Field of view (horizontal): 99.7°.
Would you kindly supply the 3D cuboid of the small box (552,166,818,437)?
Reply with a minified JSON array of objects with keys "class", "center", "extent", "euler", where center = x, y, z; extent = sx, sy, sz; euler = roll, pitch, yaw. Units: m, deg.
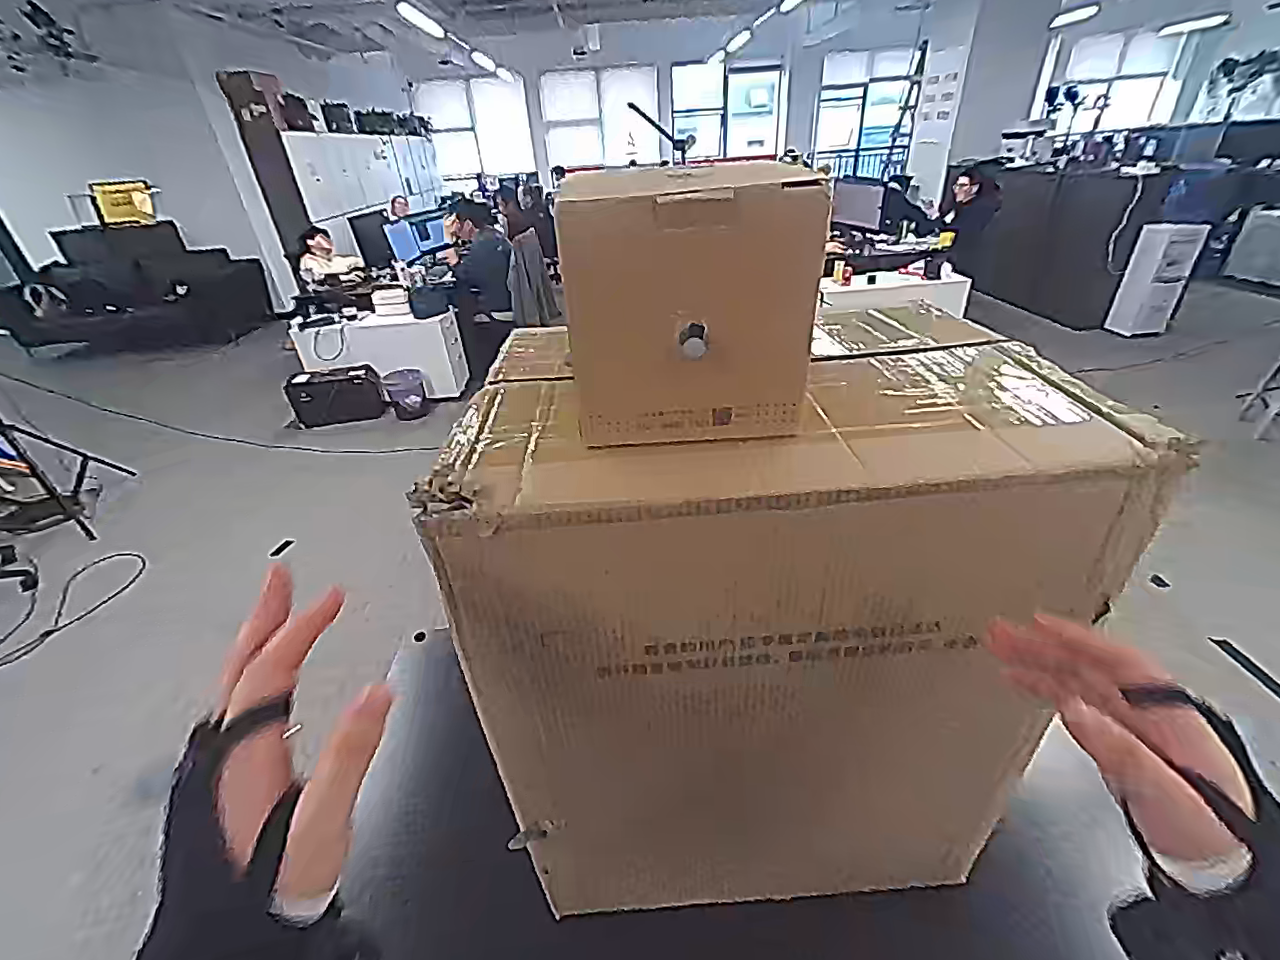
[{"class":"small box","center":[0.031,-0.143,0.436],"extent":[0.168,0.176,0.179],"euler":[-3,34,0]}]
